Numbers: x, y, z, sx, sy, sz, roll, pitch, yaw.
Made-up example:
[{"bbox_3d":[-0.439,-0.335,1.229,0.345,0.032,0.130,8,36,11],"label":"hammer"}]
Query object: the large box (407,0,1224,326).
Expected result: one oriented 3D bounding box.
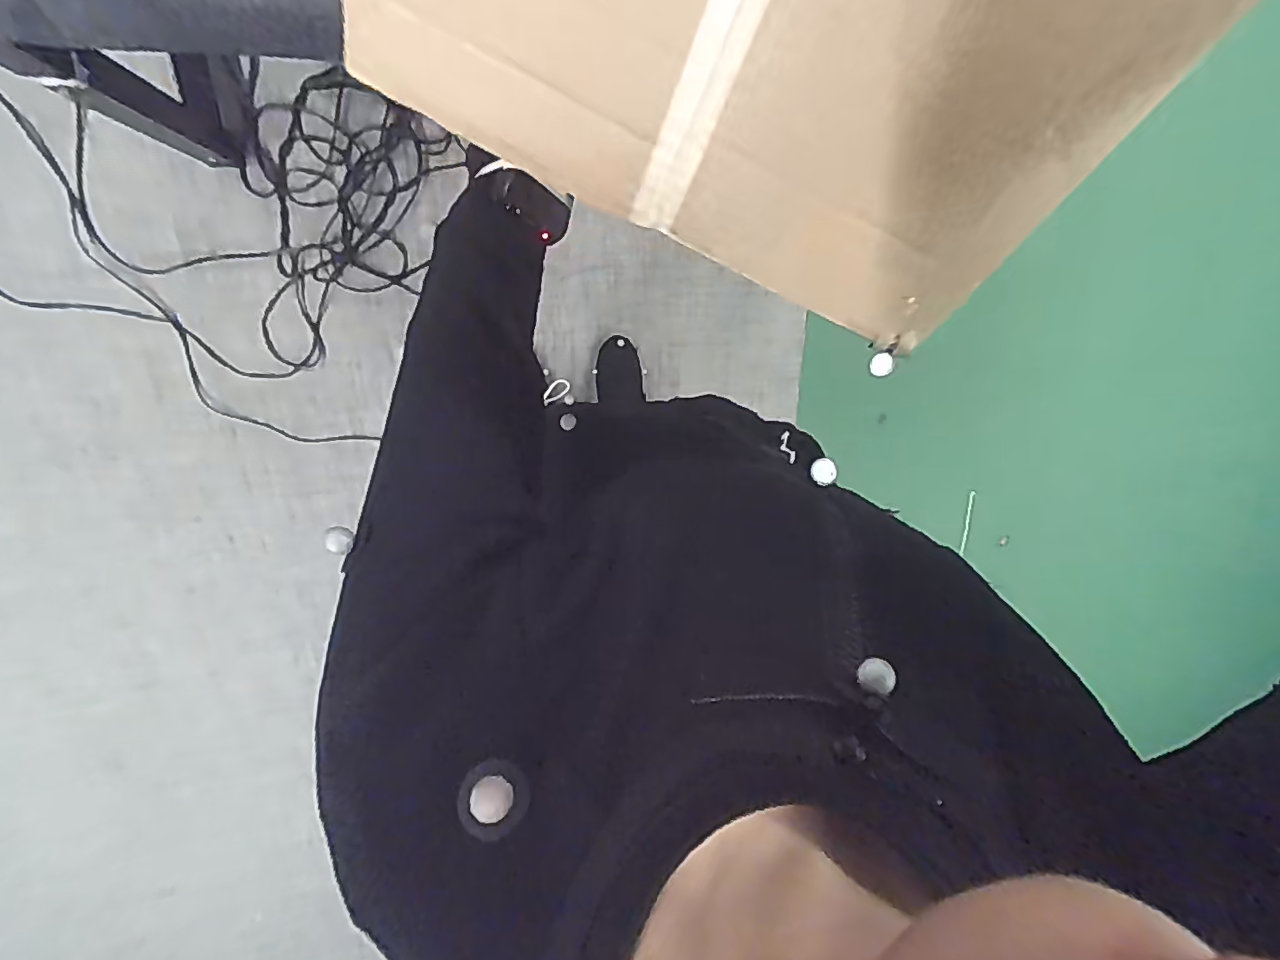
[{"bbox_3d":[0.117,-0.365,0.241,0.320,0.320,0.408,23,139,-7],"label":"large box"}]
